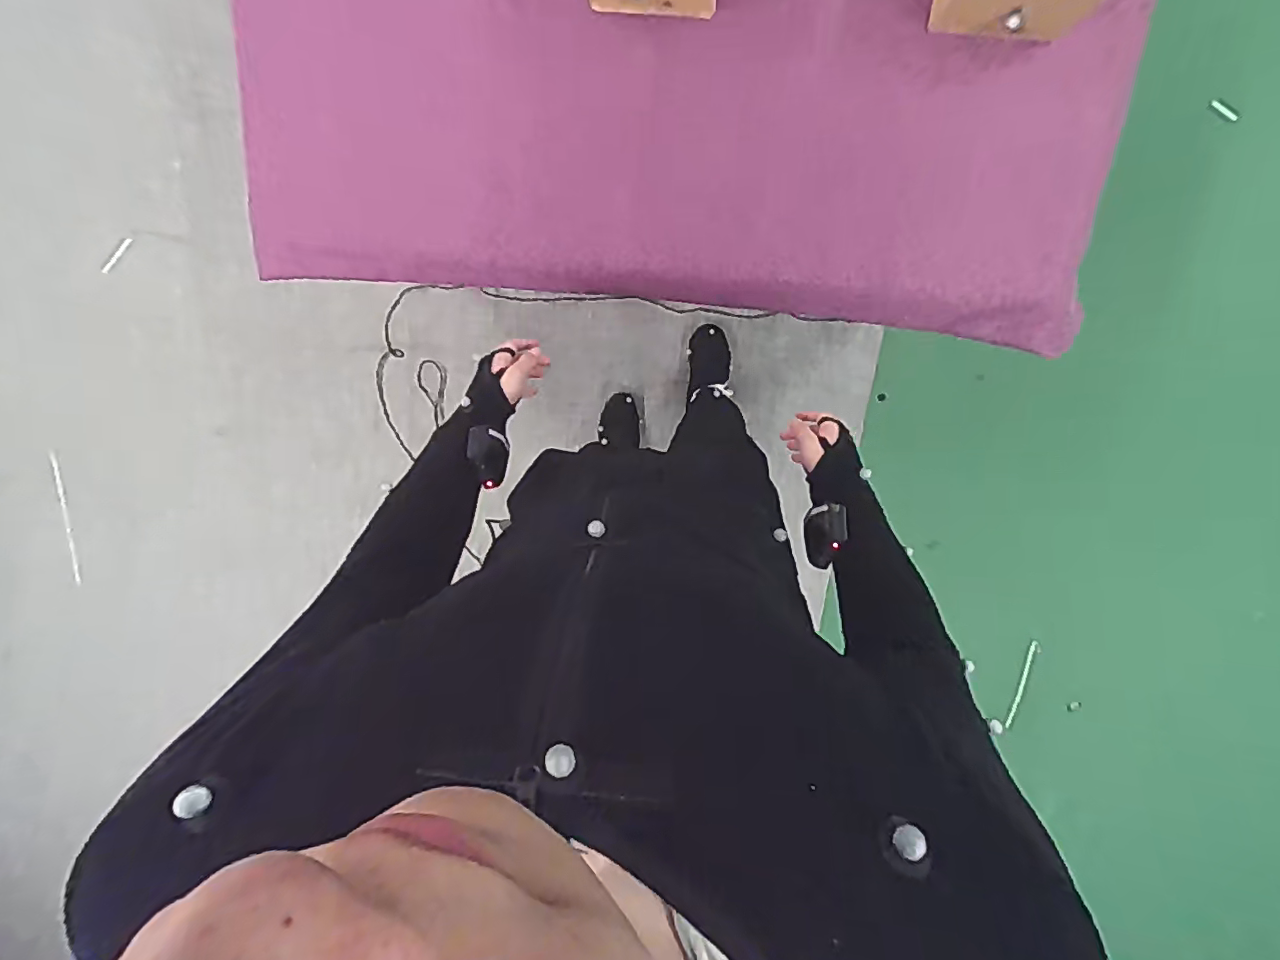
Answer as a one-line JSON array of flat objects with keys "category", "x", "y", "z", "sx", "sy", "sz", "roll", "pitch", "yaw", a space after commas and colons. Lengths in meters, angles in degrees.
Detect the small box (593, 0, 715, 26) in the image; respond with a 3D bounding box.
[{"category": "small box", "x": 0.019, "y": -0.678, "z": 0.624, "sx": 0.168, "sy": 0.176, "sz": 0.179, "roll": 6, "pitch": 106, "yaw": 2}]
